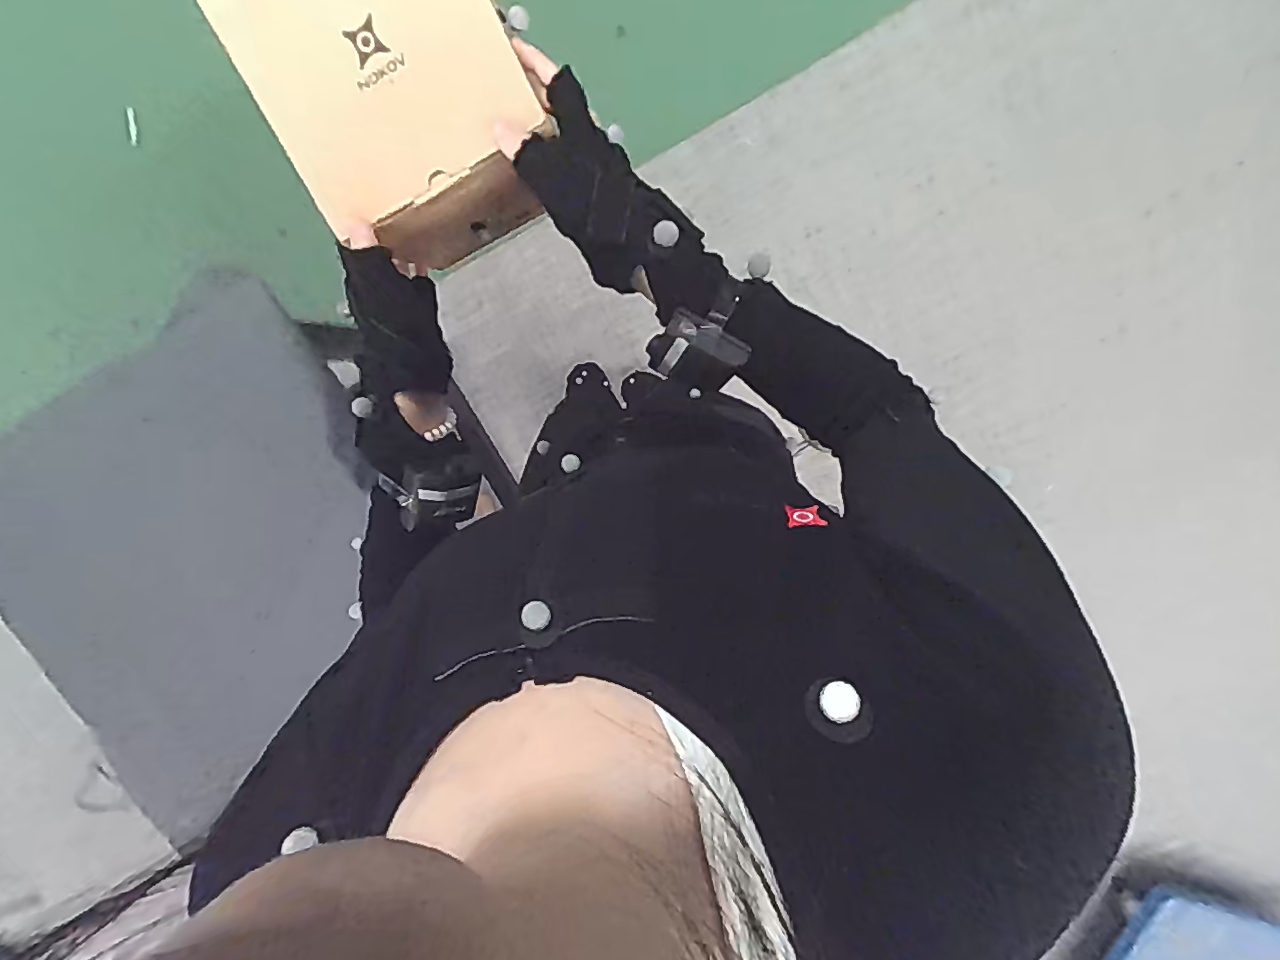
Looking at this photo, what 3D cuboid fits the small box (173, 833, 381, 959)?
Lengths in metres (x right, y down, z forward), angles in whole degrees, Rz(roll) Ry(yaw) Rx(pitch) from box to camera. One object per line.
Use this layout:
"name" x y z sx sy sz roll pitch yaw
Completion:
"small box" -0.555 0.701 0.853 0.168 0.176 0.179 -28 100 7

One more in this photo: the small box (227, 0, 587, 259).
"small box" -0.155 -0.295 0.417 0.168 0.176 0.179 -24 105 8
